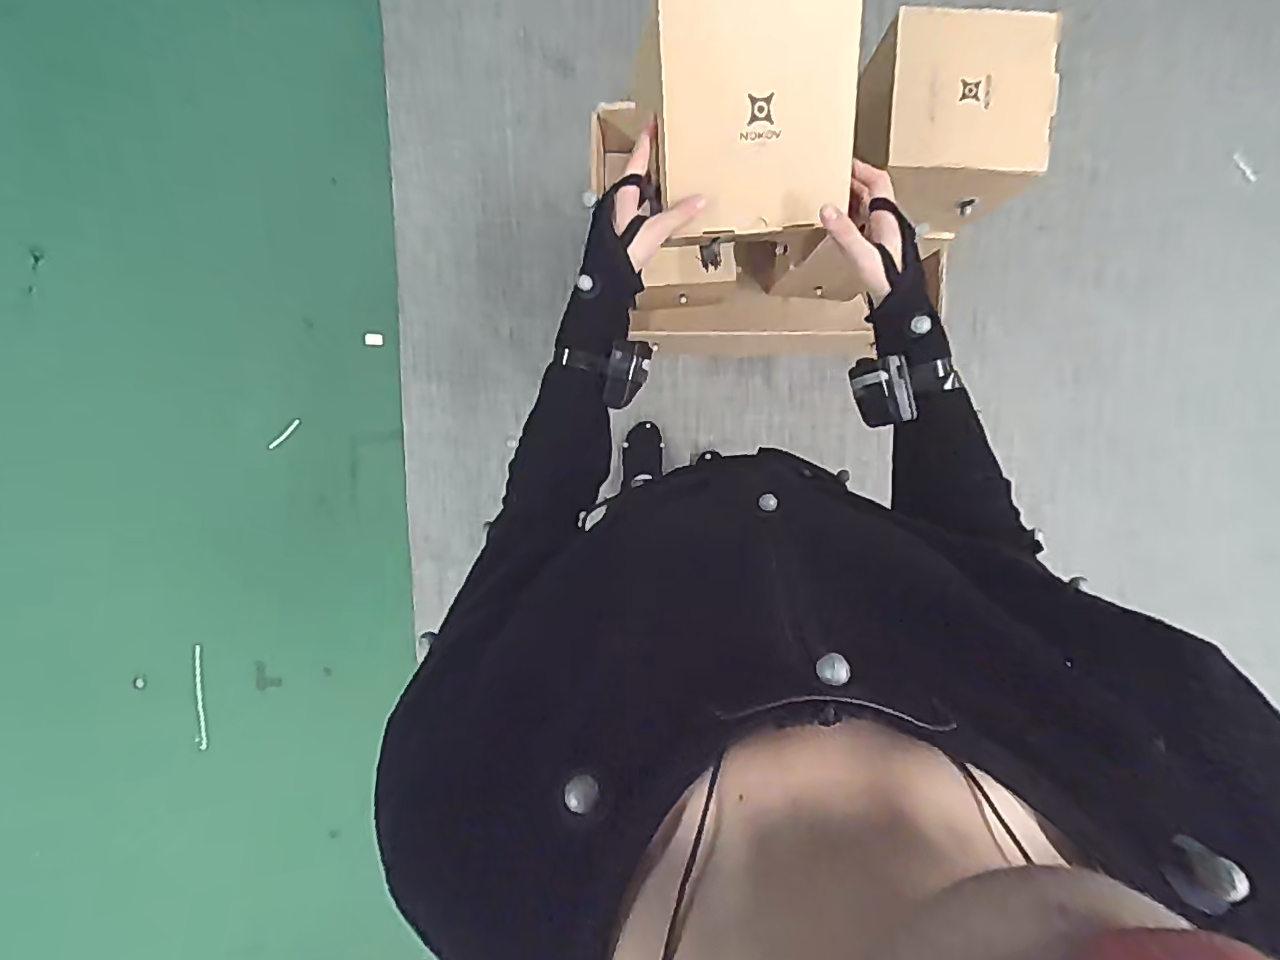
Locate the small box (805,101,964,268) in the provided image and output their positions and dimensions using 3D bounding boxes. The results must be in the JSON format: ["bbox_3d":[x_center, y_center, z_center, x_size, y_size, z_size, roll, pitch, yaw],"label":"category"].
[{"bbox_3d":[0.357,-0.426,0.805,0.179,0.176,0.168,3,94,1],"label":"small box"}]

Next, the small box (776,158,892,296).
[{"bbox_3d":[0.348,-0.440,0.969,0.168,0.176,0.179,5,94,1],"label":"small box"}]

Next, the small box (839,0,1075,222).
[{"bbox_3d":[0.358,-0.424,0.642,0.179,0.176,0.168,3,93,2],"label":"small box"}]
